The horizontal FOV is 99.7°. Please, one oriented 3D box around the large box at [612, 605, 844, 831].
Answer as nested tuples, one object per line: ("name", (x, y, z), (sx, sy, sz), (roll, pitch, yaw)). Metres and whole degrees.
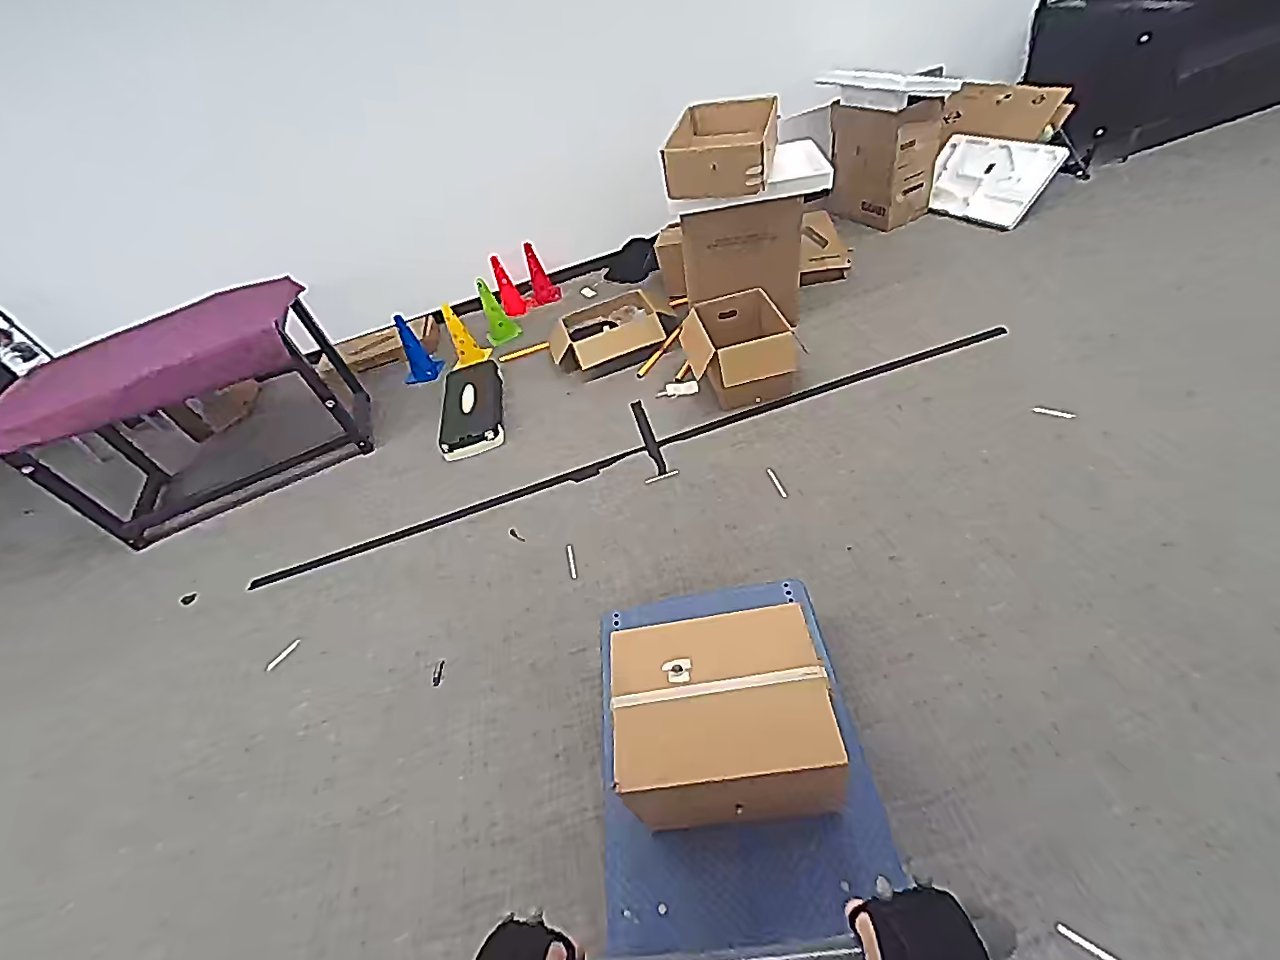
("large box", (0.178, 0.509, 1.142), (0.408, 0.320, 0.320), (-12, 44, 7))
